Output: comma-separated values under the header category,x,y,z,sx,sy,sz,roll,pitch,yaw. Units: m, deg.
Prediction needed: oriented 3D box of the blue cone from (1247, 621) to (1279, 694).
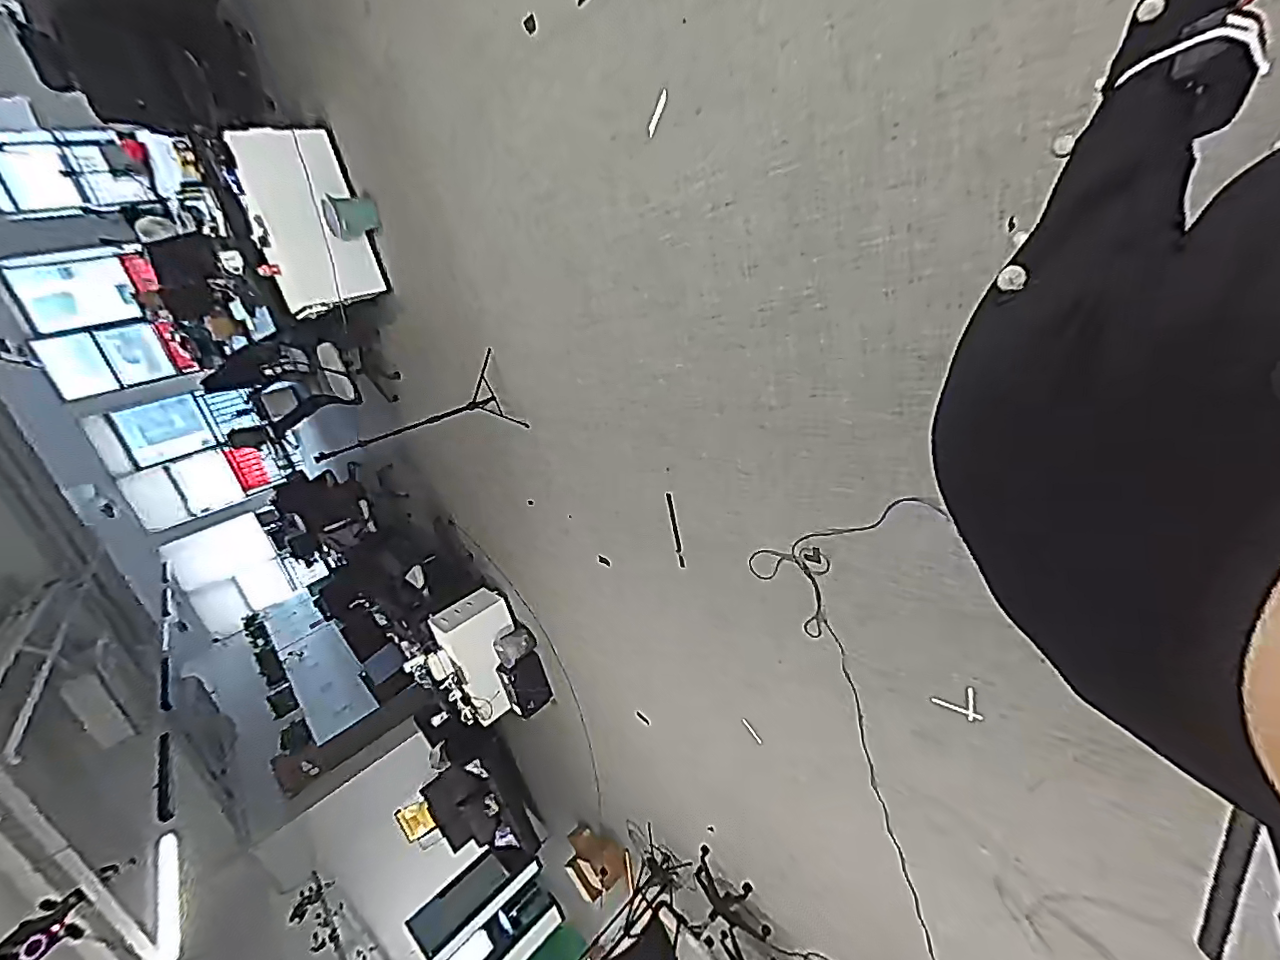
category,x,y,z,sx,sy,sz,roll,pitch,yaw
blue cone,1.262,0.444,0.999,0.192,0.380,0.193,6,118,48
